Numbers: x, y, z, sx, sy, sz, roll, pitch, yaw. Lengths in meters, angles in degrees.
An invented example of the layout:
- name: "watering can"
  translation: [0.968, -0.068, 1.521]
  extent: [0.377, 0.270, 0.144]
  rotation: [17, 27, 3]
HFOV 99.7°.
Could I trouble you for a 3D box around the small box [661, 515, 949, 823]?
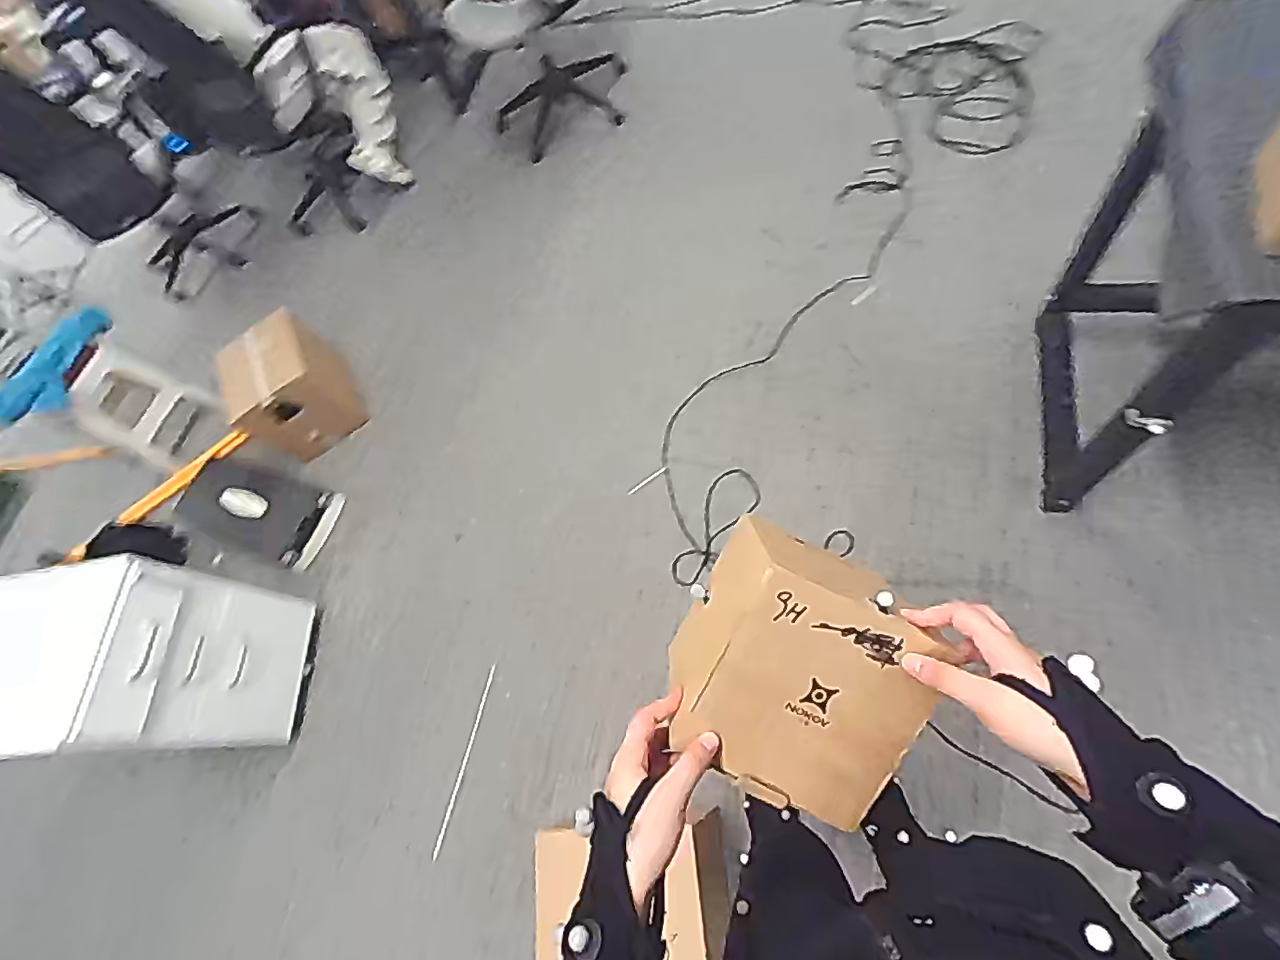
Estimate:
- name: "small box"
  translation: [0.135, 0.158, 0.506]
  extent: [0.168, 0.176, 0.179]
  rotation: [27, 102, -1]
